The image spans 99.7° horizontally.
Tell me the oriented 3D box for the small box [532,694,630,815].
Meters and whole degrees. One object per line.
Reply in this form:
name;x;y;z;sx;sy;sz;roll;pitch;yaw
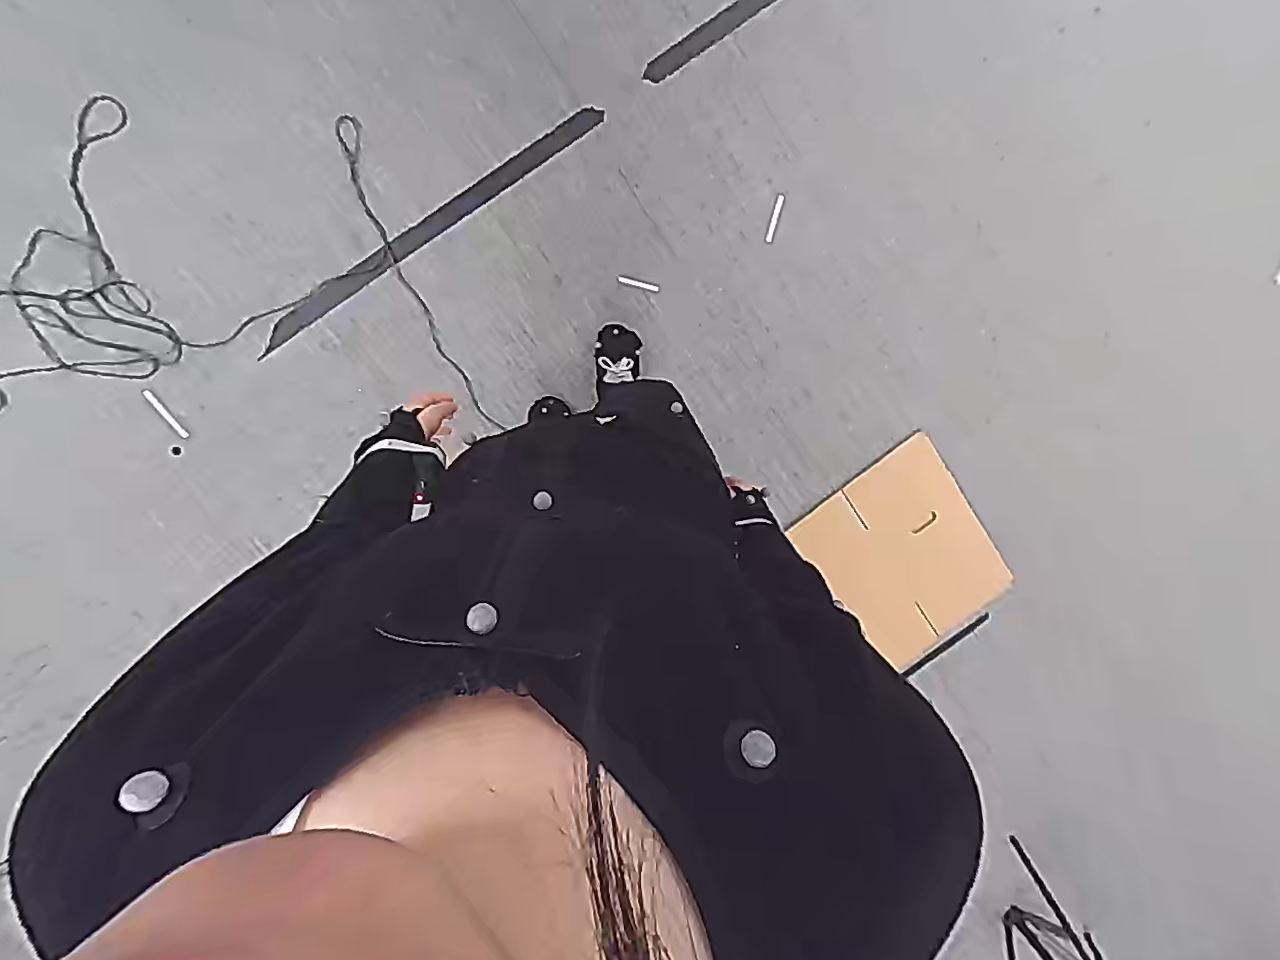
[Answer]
small box;-0.132;0.605;1.207;0.179;0.176;0.168;14;98;-8
